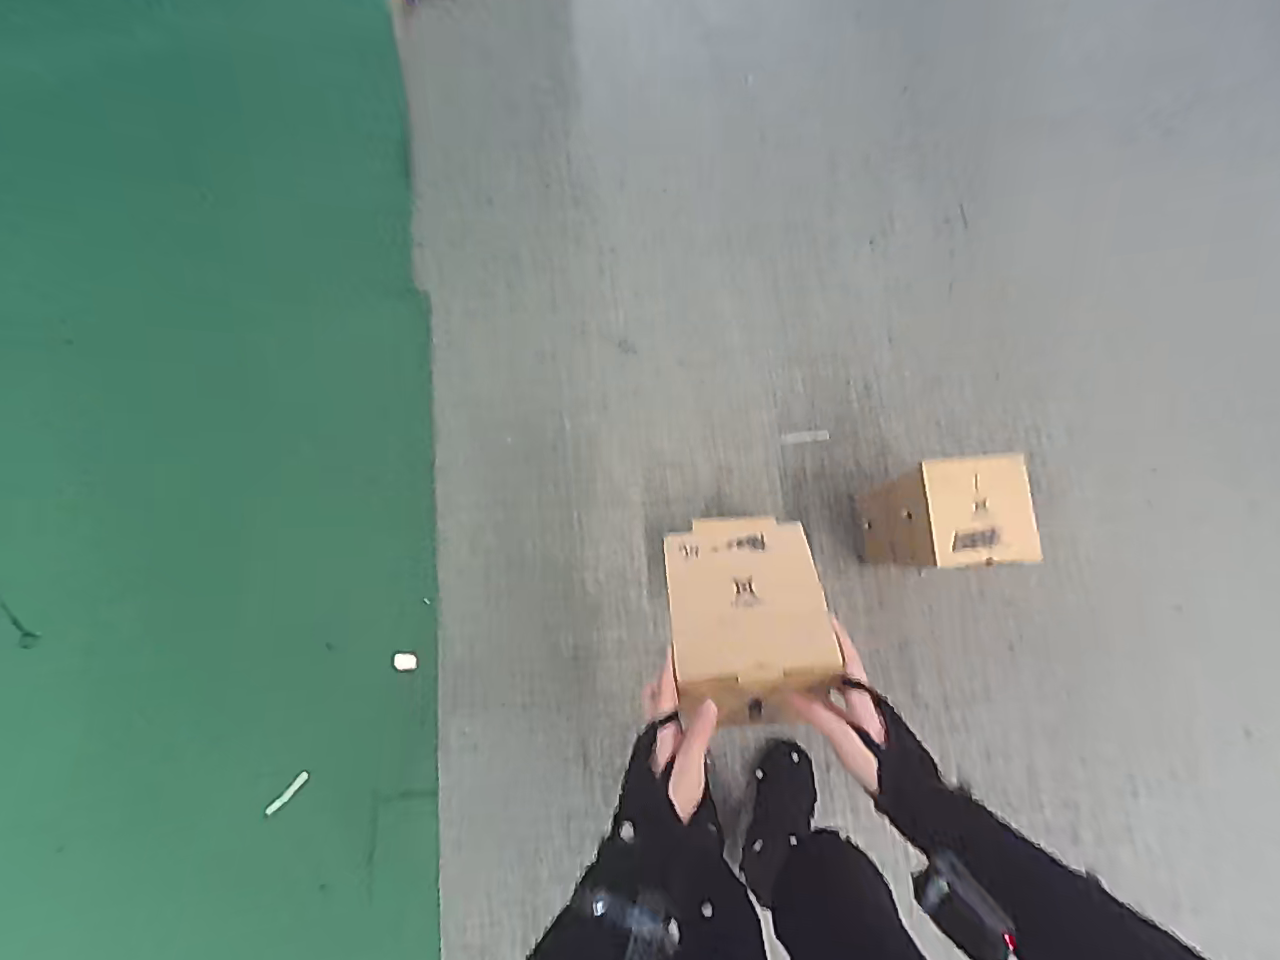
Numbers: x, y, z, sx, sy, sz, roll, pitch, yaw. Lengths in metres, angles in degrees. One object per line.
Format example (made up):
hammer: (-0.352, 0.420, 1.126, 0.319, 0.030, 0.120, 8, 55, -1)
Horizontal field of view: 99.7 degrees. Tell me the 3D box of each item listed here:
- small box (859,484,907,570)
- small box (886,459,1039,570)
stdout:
small box: (0.569, 0.098, 1.124, 0.179, 0.176, 0.168, -5, 79, 4)
small box: (0.560, 0.070, 0.963, 0.168, 0.176, 0.179, -4, 78, 4)
